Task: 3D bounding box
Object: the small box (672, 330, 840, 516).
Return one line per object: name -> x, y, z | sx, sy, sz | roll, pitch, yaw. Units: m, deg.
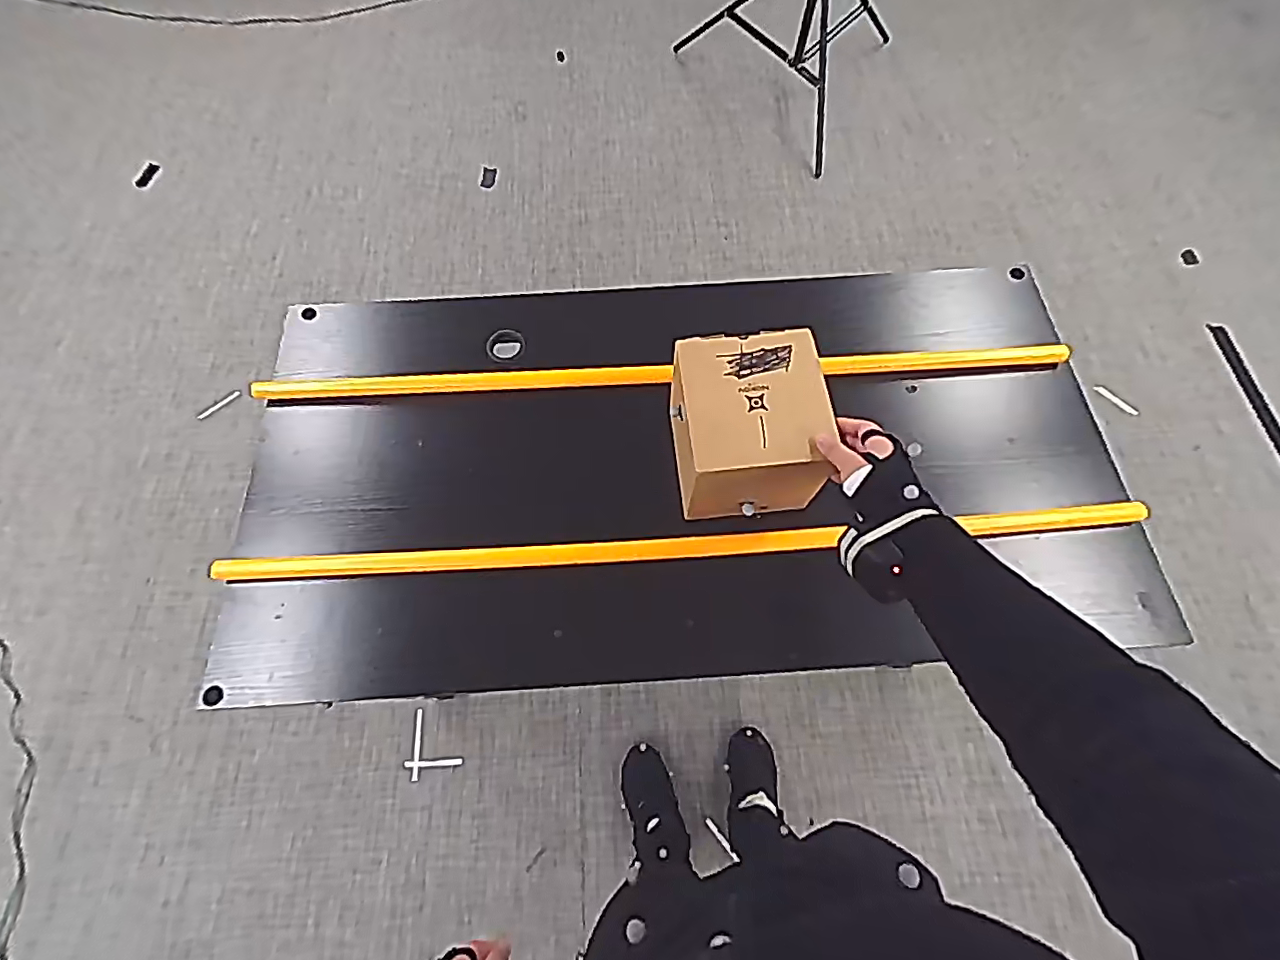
small box -> 0.133, -0.066, 0.698 | 0.168, 0.176, 0.179 | -6, 68, -1
